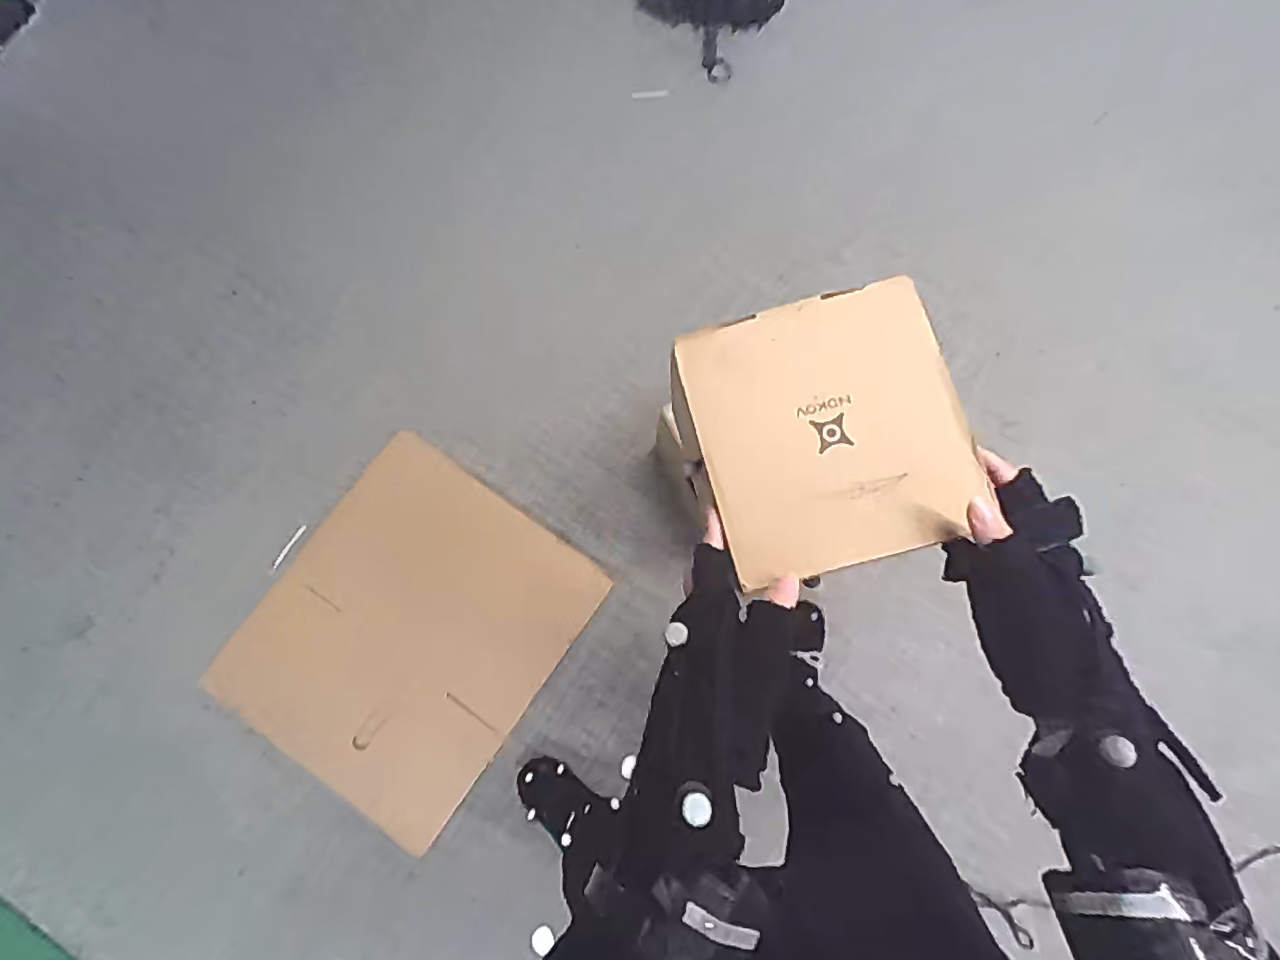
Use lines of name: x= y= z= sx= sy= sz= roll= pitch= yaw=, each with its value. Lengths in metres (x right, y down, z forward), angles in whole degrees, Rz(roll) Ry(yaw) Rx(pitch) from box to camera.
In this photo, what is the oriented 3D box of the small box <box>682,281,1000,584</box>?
small box: x=0.134 y=-0.021 z=0.437 sx=0.168 sy=0.176 sz=0.179 roll=-17 pitch=80 yaw=2
